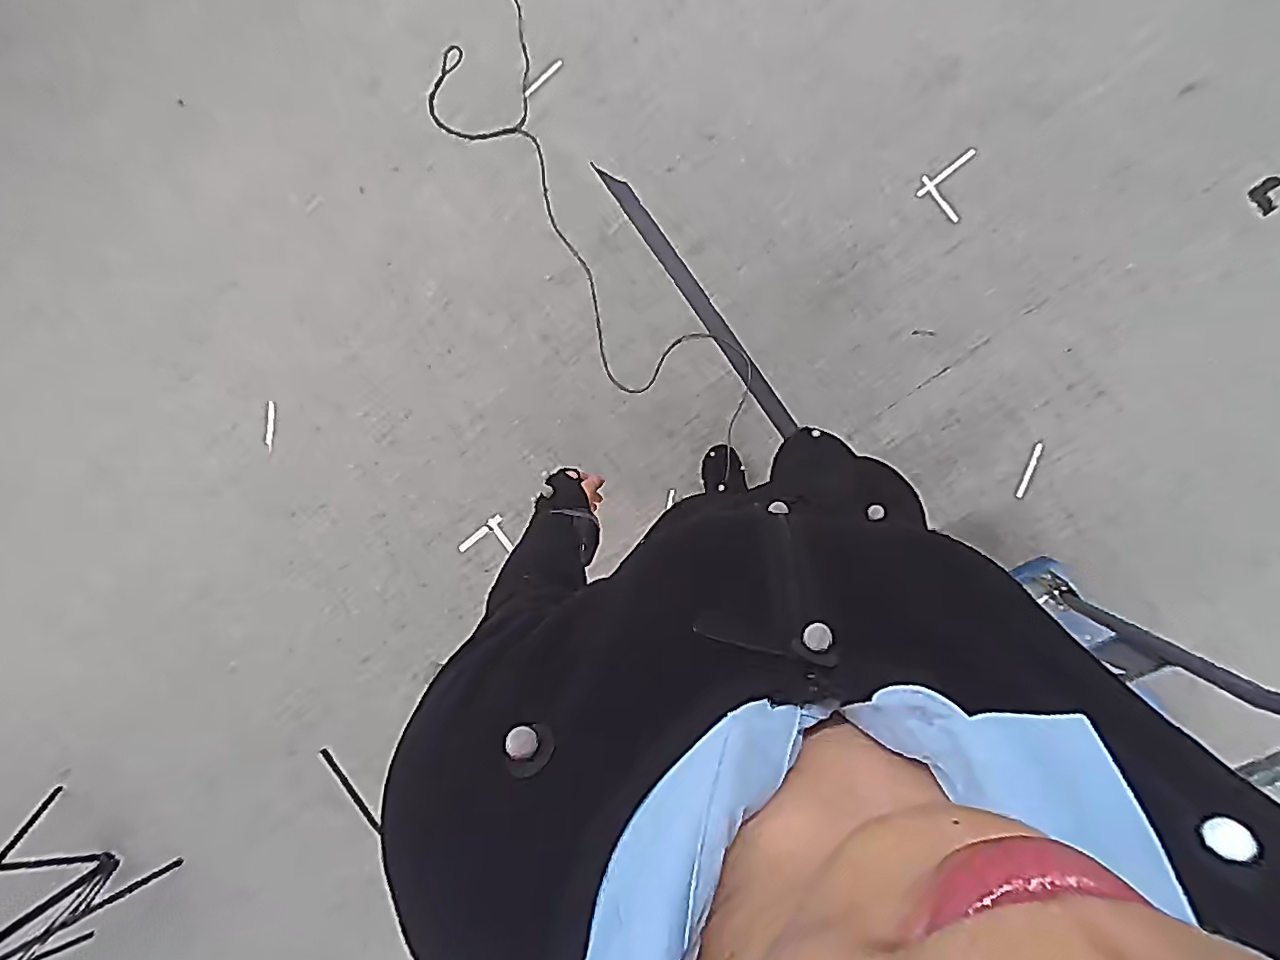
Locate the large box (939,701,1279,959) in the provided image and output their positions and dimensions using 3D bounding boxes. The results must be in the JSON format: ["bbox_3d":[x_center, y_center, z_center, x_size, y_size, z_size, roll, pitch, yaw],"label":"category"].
[{"bbox_3d":[0.899,0.714,1.059,0.408,0.320,0.320,-32,88,12],"label":"large box"}]
